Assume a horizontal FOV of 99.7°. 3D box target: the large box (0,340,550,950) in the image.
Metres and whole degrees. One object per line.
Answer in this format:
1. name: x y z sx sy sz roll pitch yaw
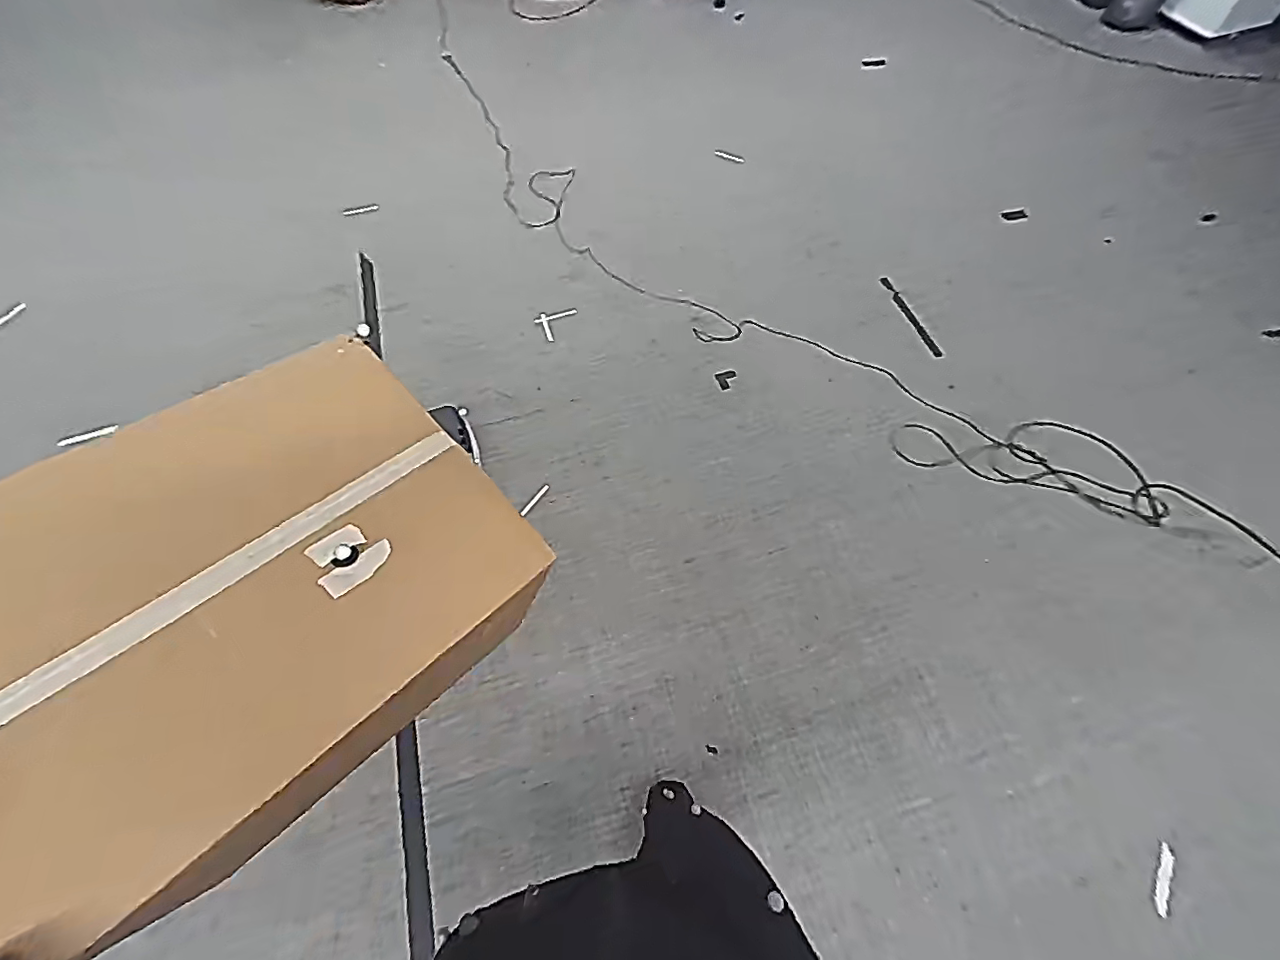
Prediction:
1. large box: -0.361 0.135 0.568 0.320 0.320 0.408 47 59 7
